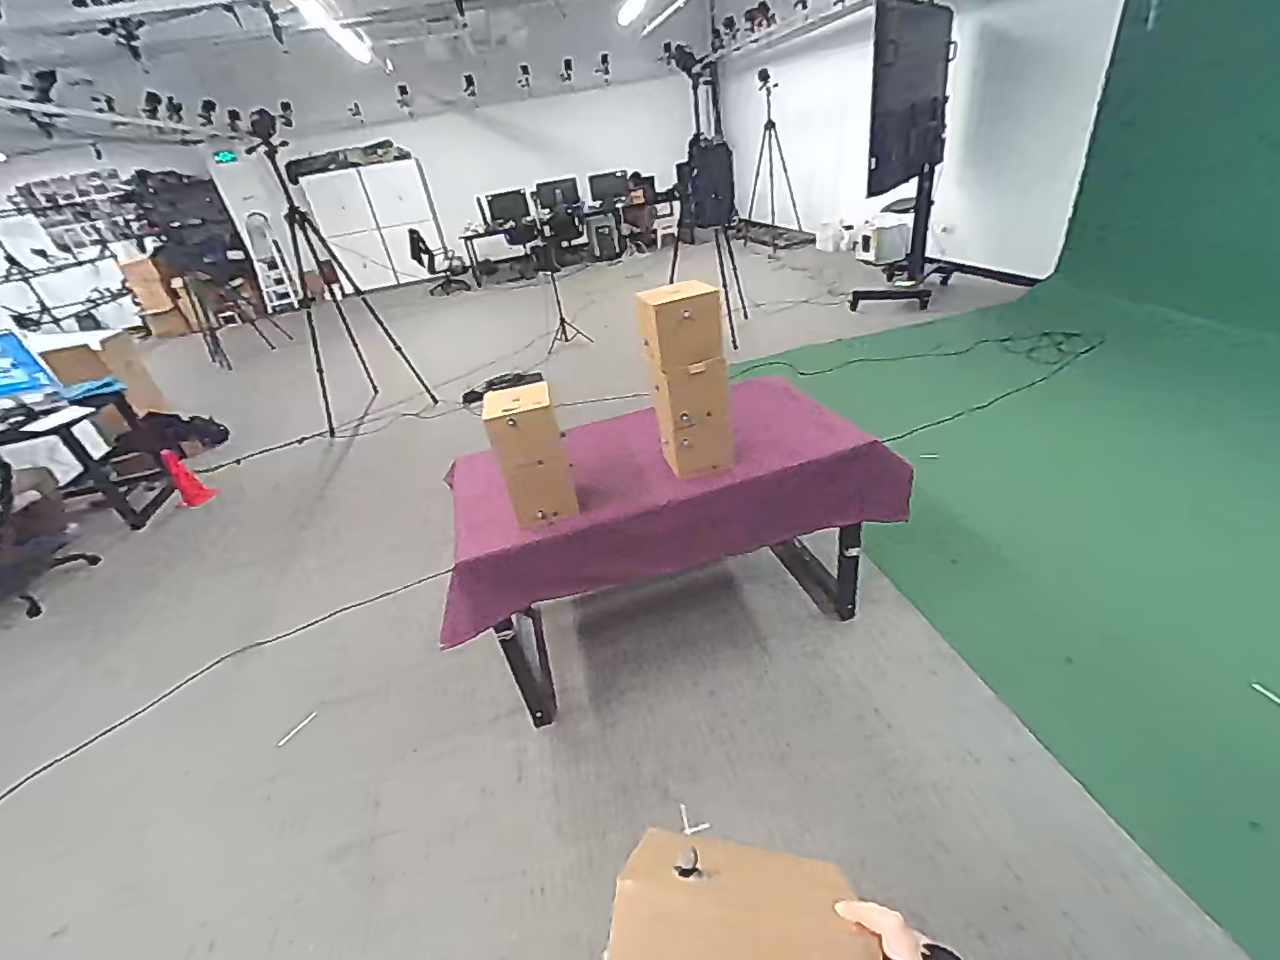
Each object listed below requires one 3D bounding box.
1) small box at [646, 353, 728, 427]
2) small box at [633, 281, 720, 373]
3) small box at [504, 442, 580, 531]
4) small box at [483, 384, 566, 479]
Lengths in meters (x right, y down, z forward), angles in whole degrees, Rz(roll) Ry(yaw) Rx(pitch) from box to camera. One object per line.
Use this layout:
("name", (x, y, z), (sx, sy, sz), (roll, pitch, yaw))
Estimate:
("small box", (0.129, -0.259, 1.478), (0.168, 0.176, 0.179), (-17, 30, -9))
("small box", (0.099, -0.396, 1.395), (0.179, 0.176, 0.168), (-18, 32, -10))
("small box", (-0.265, 0.012, 1.480), (0.168, 0.176, 0.179), (-14, 32, -4))
("small box", (-0.293, -0.126, 1.394), (0.168, 0.176, 0.179), (-15, 31, -4))
